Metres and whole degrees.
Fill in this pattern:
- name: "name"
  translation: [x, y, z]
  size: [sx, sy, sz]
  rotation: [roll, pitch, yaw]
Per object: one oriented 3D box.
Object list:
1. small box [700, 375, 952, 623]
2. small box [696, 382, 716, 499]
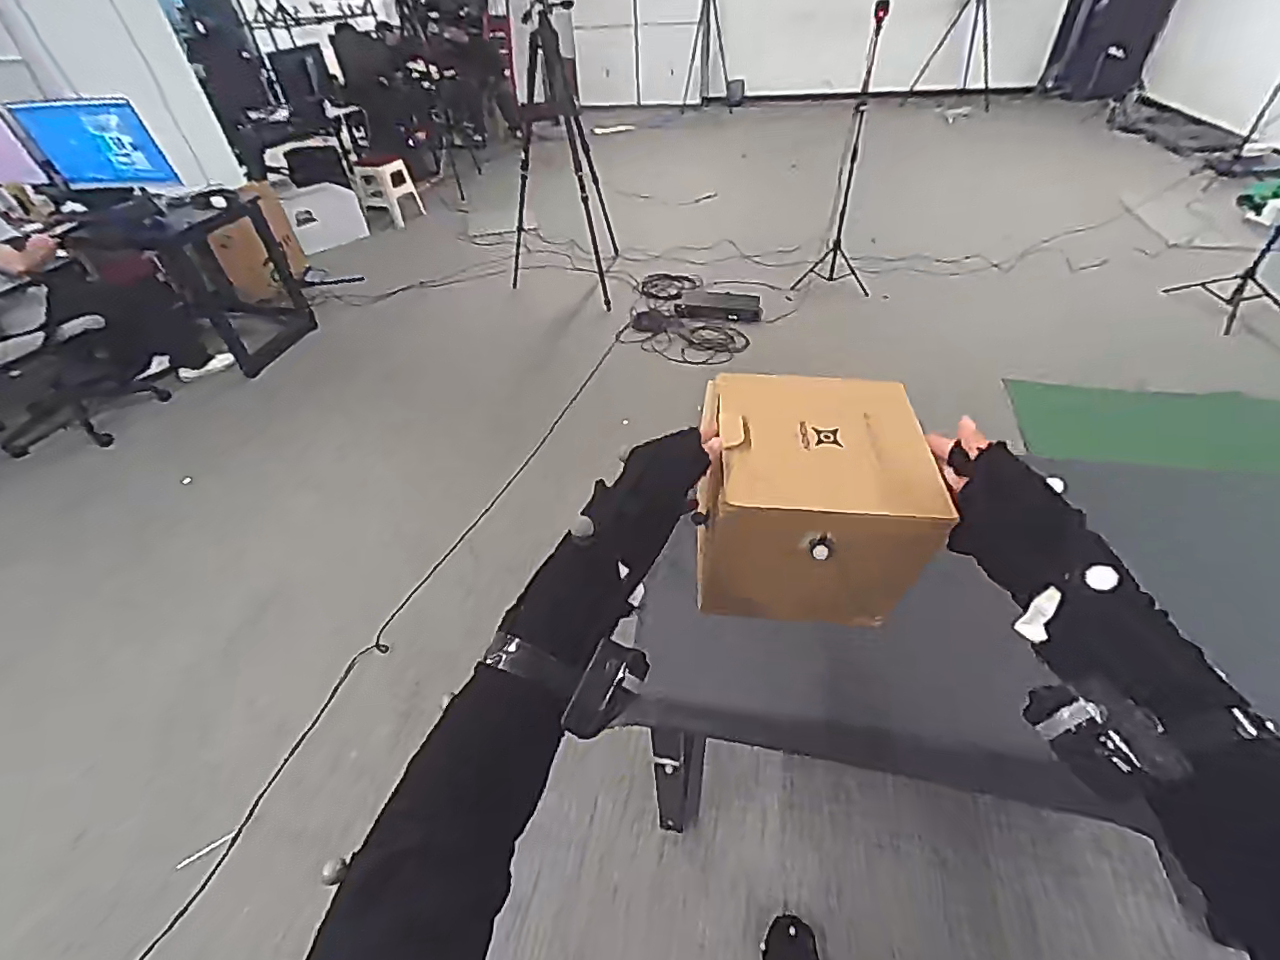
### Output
- name: "small box"
  translation: [0.151, 0.021, 0.514]
  size: [0.179, 0.176, 0.168]
  rotation: [4, 48, 2]
- name: "small box"
  translation: [0.205, -0.064, 1.027]
  size: [0.179, 0.176, 0.168]
  rotation: [6, 45, 9]
